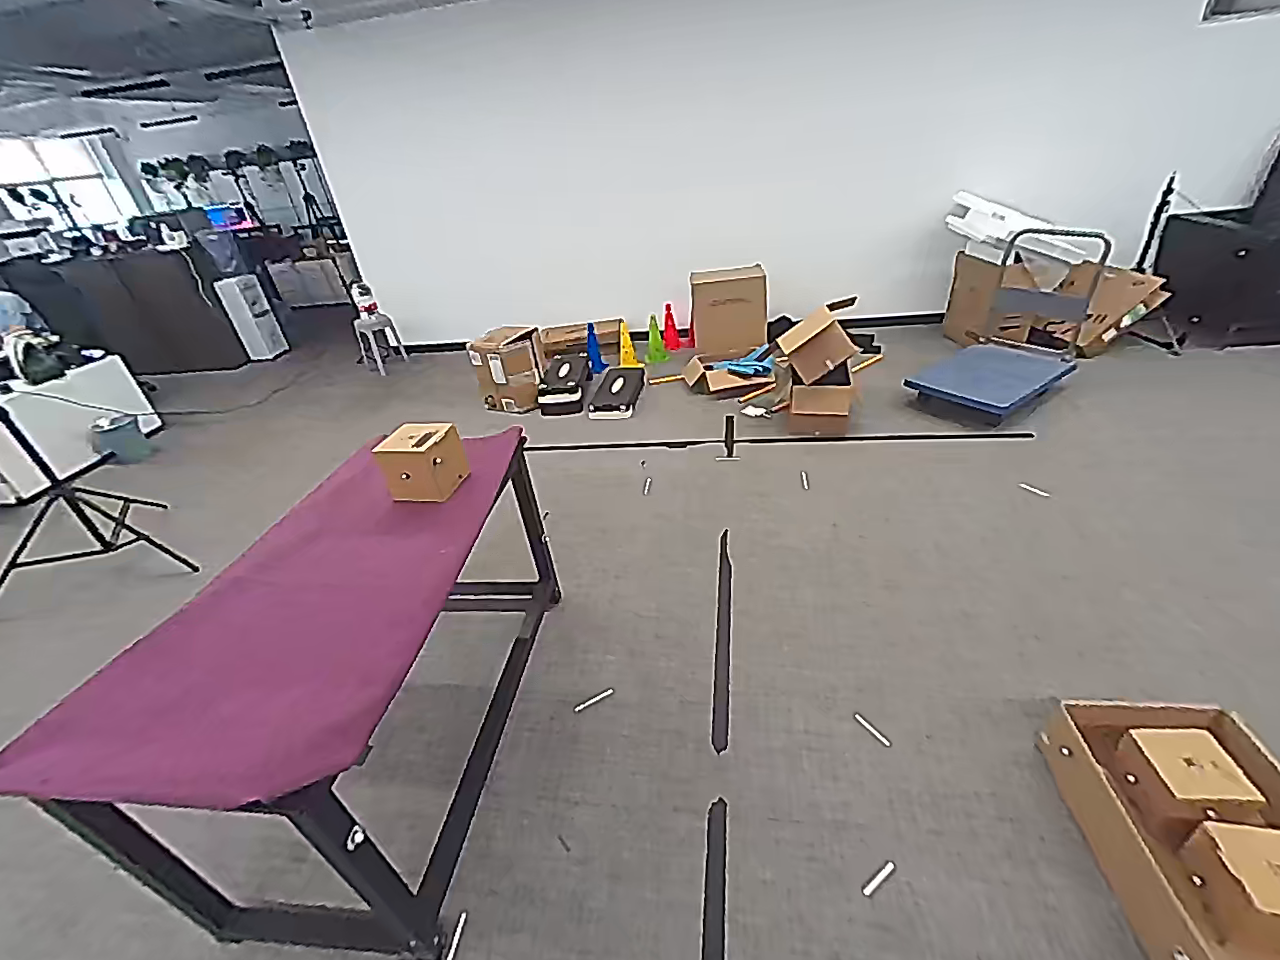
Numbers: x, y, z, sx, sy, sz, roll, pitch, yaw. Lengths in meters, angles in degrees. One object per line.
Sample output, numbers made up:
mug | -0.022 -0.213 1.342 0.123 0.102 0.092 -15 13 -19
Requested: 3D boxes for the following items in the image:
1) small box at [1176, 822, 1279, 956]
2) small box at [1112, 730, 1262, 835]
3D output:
small box | 1.274 0.840 1.105 0.179 0.176 0.168 1 32 13
small box | 1.279 0.720 1.288 0.179 0.176 0.168 -3 34 7
